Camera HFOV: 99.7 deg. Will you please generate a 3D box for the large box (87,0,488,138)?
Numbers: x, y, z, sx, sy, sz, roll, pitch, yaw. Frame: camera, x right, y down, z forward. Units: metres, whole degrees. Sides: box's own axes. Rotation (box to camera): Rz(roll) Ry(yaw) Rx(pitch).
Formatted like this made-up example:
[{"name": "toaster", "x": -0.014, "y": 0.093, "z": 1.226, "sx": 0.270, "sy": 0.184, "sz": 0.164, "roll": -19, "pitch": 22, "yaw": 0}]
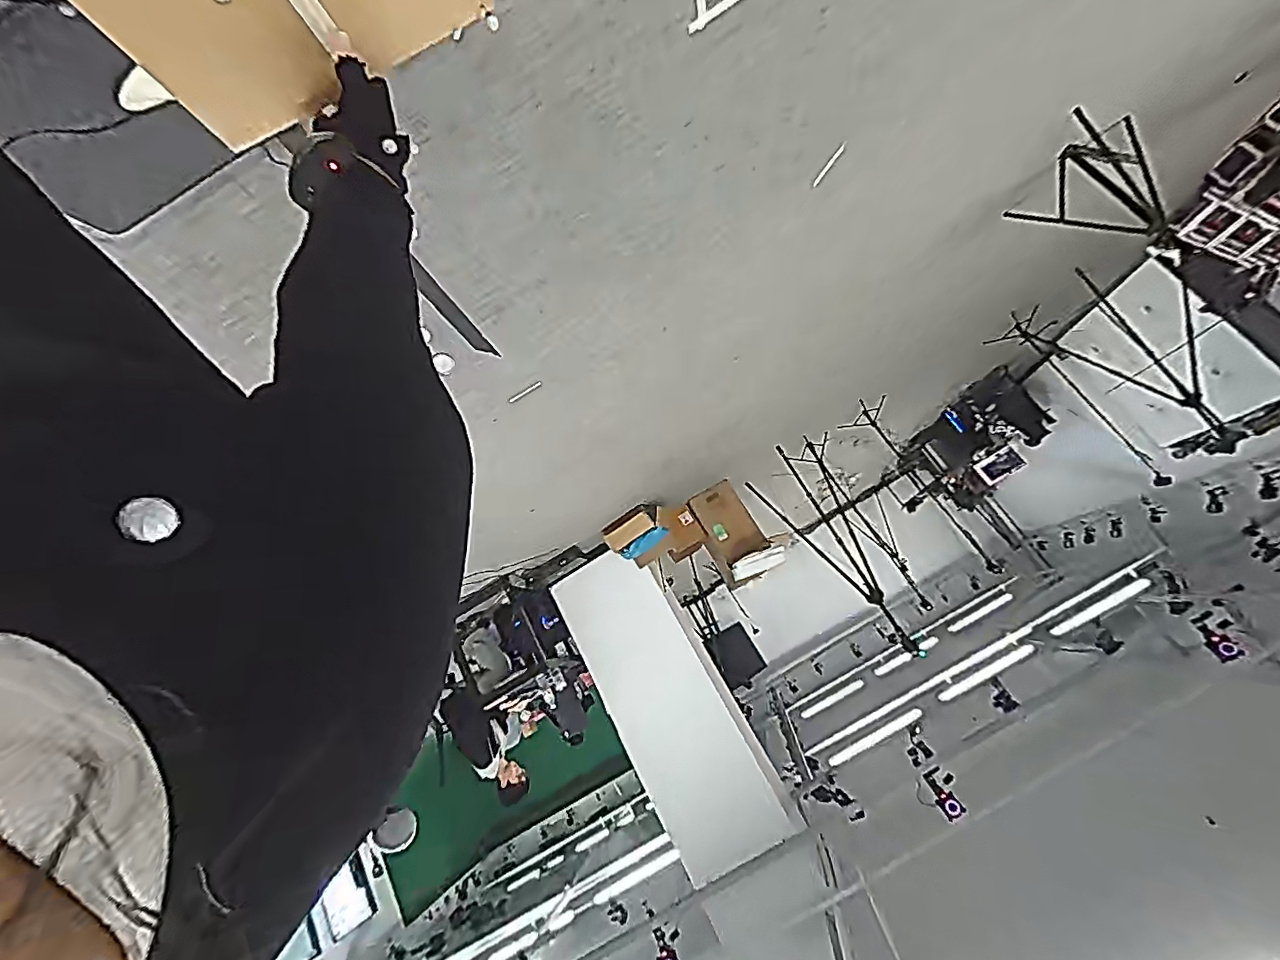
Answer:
[{"name": "large box", "x": -0.379, "y": -0.595, "z": 0.408, "sx": 0.320, "sy": 0.320, "sz": 0.408, "roll": -24, "pitch": 163, "yaw": 4}]
